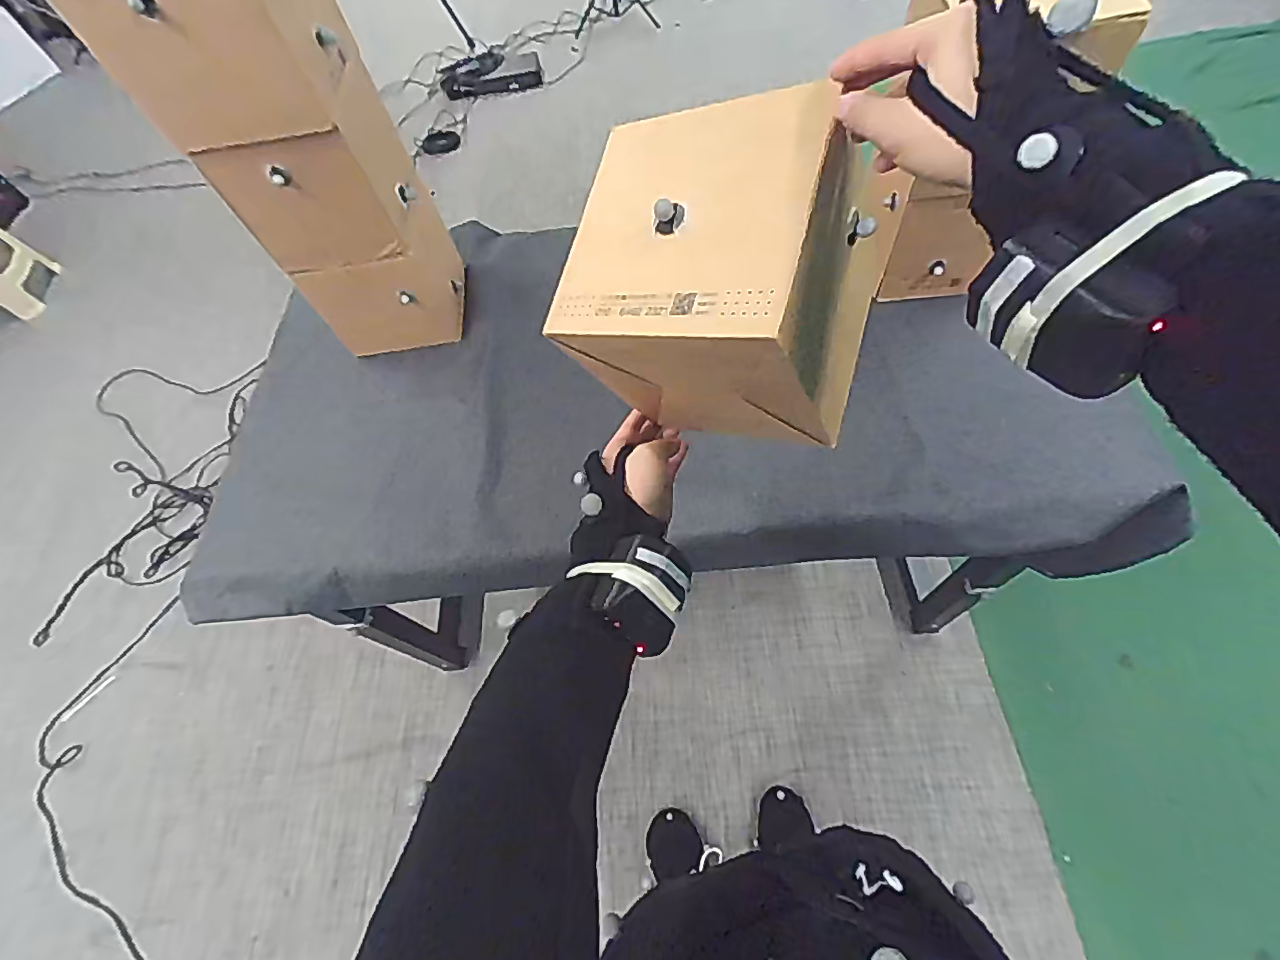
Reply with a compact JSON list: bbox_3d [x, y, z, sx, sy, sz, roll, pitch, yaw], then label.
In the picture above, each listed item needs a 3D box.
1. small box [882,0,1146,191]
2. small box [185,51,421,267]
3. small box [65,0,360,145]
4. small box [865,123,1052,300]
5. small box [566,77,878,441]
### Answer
[{"bbox_3d":[0.393,-0.452,0.610,0.168,0.176,0.179,-3,63,6],"label":"small box"},{"bbox_3d":[-0.403,-0.394,0.683,0.179,0.176,0.168,-8,63,1],"label":"small box"},{"bbox_3d":[-0.416,-0.463,0.534,0.179,0.176,0.168,-7,63,2],"label":"small box"},{"bbox_3d":[0.415,-0.380,0.755,0.168,0.176,0.179,-3,62,6],"label":"small box"},{"bbox_3d":[0.065,-0.138,0.403,0.168,0.179,0.176,11,80,32],"label":"small box"}]
